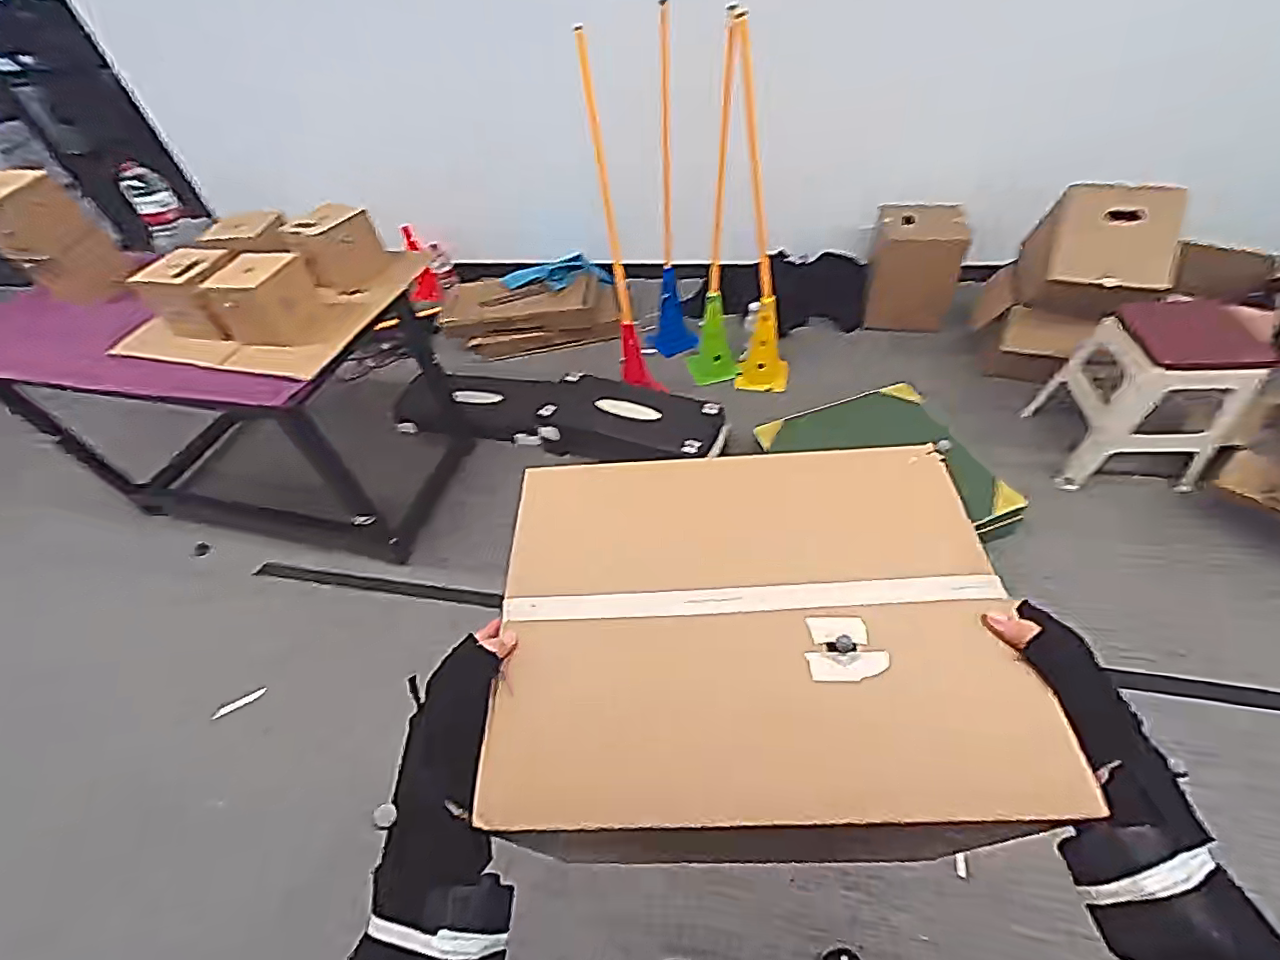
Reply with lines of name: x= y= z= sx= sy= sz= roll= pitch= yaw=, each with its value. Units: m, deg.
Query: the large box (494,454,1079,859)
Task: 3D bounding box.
large box: x=0.102 y=0.197 z=0.572 sx=0.408 sy=0.320 sz=0.320 roll=-3 pitch=52 yaw=3
